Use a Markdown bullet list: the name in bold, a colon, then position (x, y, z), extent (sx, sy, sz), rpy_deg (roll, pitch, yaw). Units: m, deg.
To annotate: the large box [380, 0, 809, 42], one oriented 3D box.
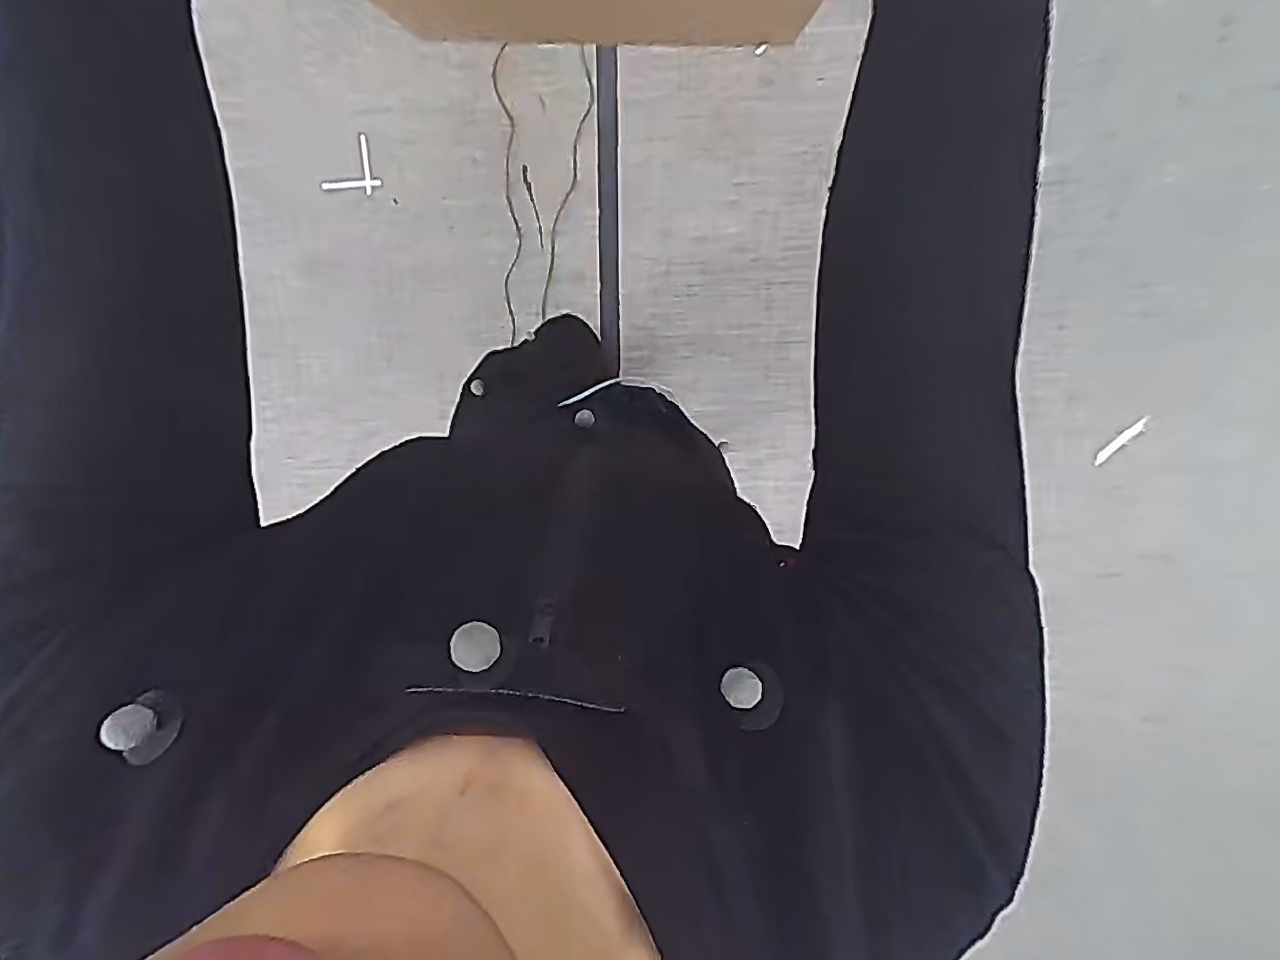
- **large box**: position (-0.043, -0.549, 0.380), extent (0.408, 0.320, 0.320), rpy_deg (1, 116, 1)
